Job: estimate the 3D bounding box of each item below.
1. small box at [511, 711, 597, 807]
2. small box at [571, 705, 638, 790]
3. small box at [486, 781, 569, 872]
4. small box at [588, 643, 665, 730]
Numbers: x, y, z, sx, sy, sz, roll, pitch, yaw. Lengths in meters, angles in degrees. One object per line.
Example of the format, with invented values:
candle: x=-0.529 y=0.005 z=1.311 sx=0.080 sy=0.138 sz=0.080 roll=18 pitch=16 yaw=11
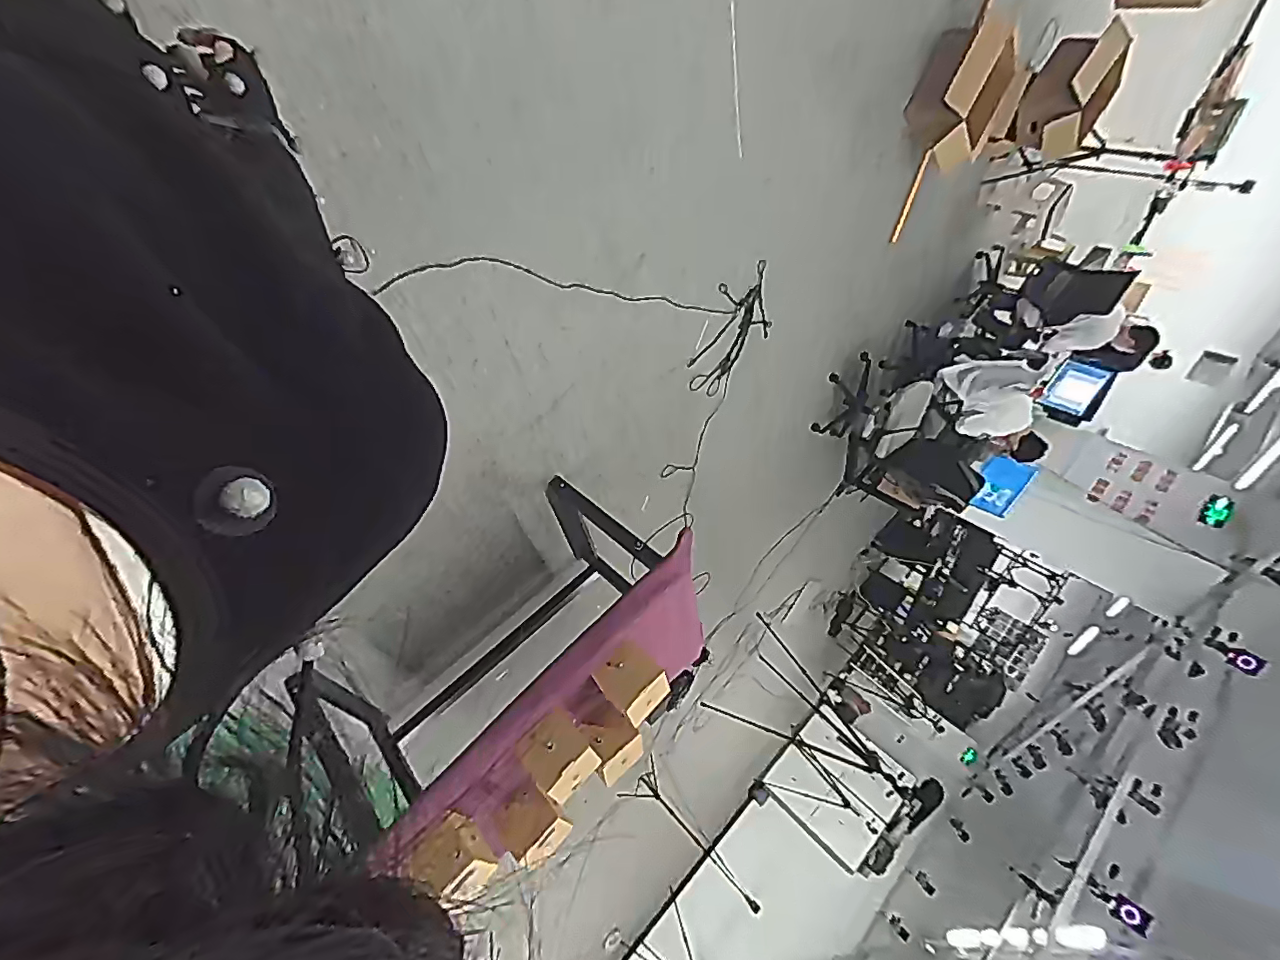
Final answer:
small box: x=-0.257 y=0.822 z=1.605 sx=0.168 sy=0.176 sz=0.179 roll=-39 pitch=143 yaw=-22
small box: x=-0.125 y=0.897 z=1.832 sx=0.168 sy=0.176 sz=0.179 roll=-32 pitch=139 yaw=-29
small box: x=-0.357 y=1.088 z=1.706 sx=0.168 sy=0.176 sz=0.179 roll=-41 pitch=144 yaw=-20
small box: x=-0.041 y=0.654 z=1.727 sx=0.168 sy=0.176 sz=0.179 roll=-40 pitch=143 yaw=-22
